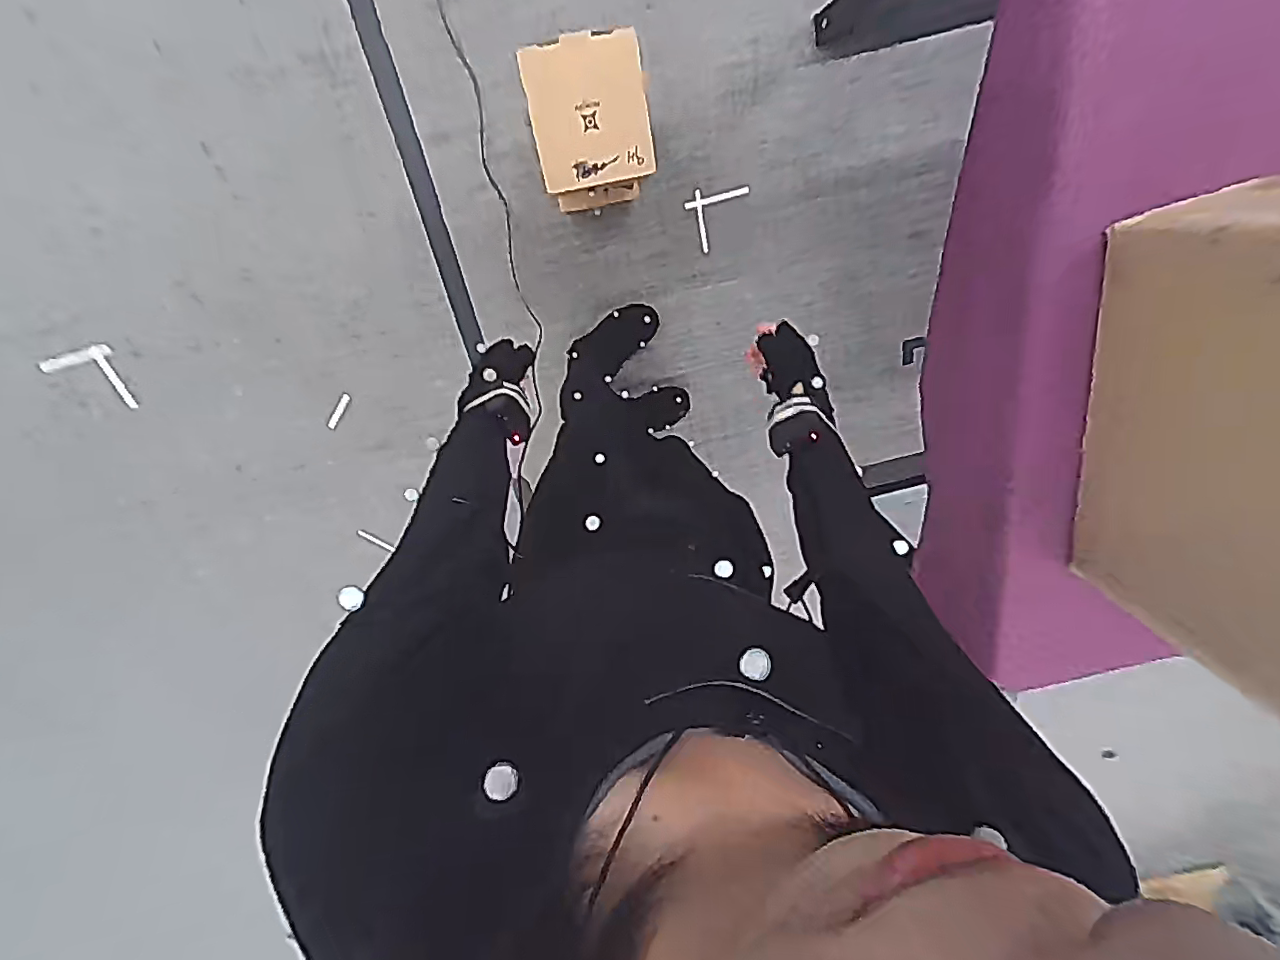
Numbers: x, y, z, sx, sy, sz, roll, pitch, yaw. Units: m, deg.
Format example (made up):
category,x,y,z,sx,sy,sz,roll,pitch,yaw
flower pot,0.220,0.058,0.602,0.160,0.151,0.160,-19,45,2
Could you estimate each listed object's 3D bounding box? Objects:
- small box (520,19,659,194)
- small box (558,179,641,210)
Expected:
category,x,y,z,sx,sy,sz,roll,pitch,yaw
small box,-0.074,-0.545,0.813,0.168,0.176,0.179,-11,116,-1
small box,-0.099,-0.667,1.115,0.168,0.176,0.179,-11,117,0
